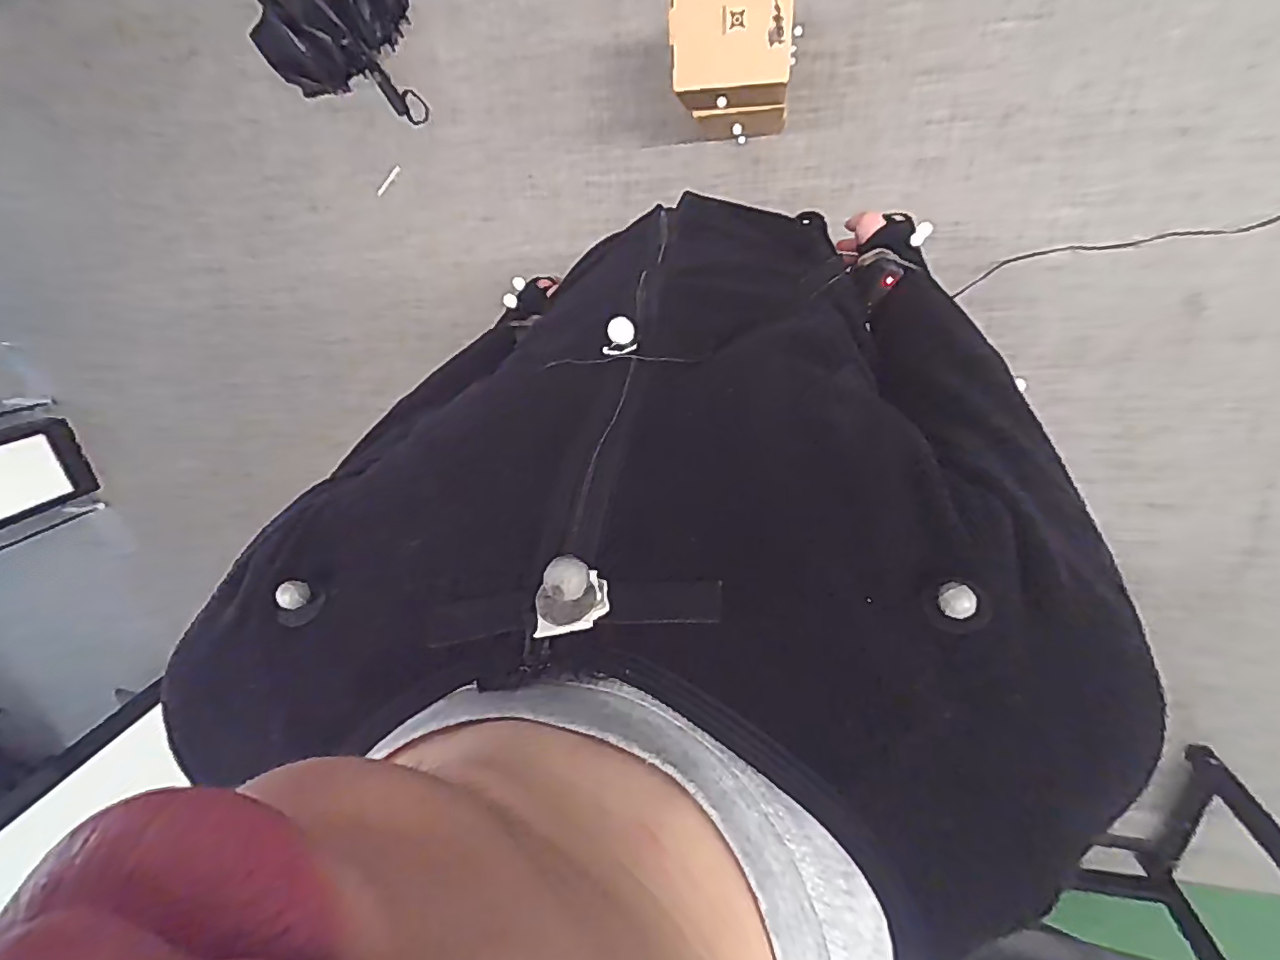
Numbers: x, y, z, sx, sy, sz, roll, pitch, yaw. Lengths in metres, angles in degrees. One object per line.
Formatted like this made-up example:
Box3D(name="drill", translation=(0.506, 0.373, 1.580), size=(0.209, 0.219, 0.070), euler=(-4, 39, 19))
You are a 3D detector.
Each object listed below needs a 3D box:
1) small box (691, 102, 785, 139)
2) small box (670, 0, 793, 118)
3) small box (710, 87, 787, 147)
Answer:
Box3D(name="small box", translation=(0.184, -0.754, 1.003), size=(0.168, 0.176, 0.179), euler=(2, 115, 12))
Box3D(name="small box", translation=(0.147, -0.690, 0.857), size=(0.179, 0.176, 0.168), euler=(3, 115, 12))
Box3D(name="small box", translation=(0.224, -0.826, 1.146), size=(0.168, 0.176, 0.179), euler=(0, 115, 13))
